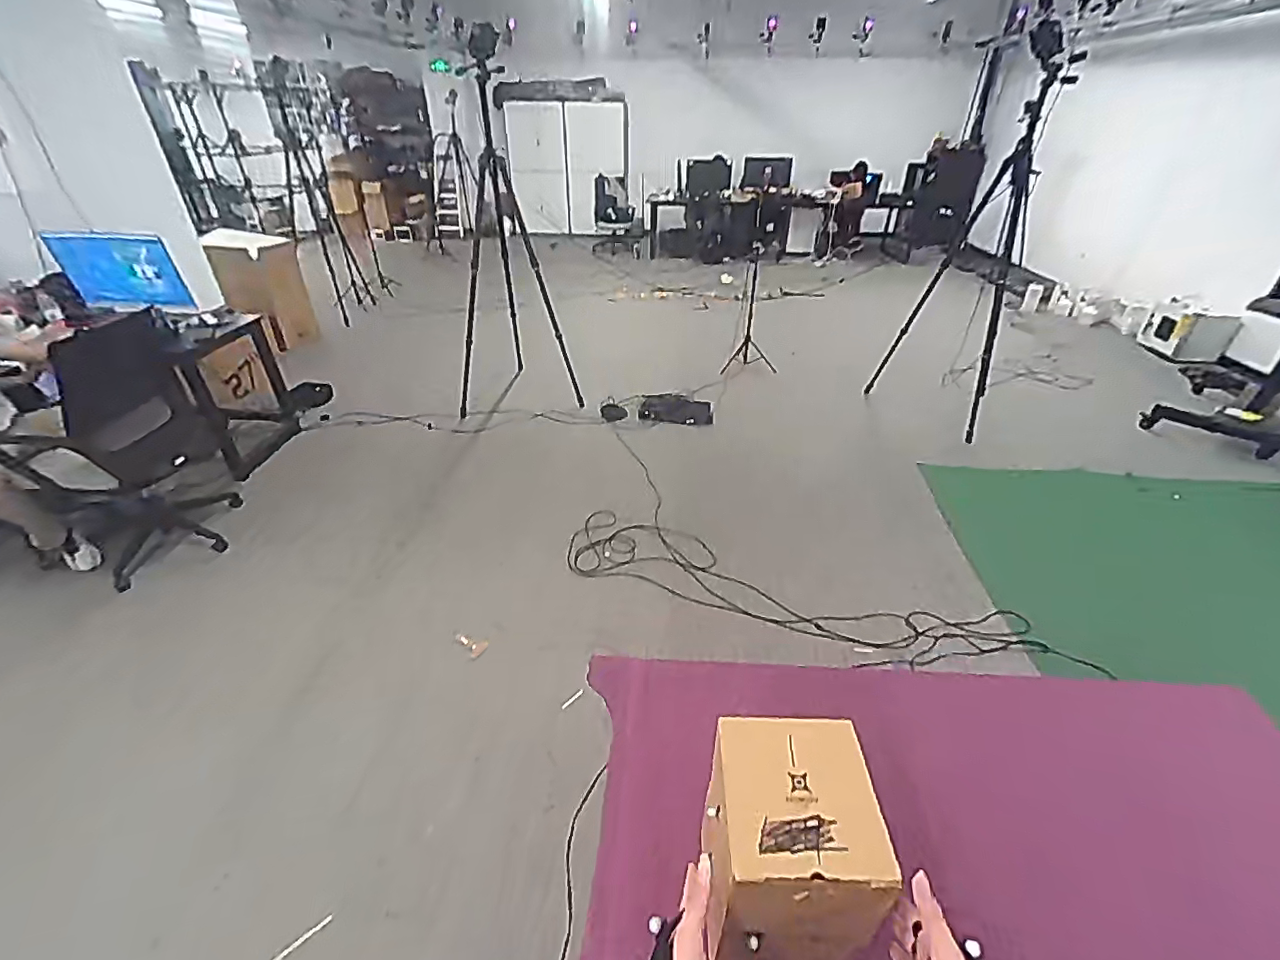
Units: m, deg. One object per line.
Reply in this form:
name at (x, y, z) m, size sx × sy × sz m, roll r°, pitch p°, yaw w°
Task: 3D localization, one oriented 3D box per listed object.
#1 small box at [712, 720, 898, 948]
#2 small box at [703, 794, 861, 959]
small box at (0.174, 0.411, 0.634) m, size 0.168 × 0.176 × 0.179 m, roll 1°, pitch 32°, yaw 2°
small box at (0.175, 0.544, 0.730) m, size 0.168 × 0.176 × 0.179 m, roll 1°, pitch 34°, yaw 2°
